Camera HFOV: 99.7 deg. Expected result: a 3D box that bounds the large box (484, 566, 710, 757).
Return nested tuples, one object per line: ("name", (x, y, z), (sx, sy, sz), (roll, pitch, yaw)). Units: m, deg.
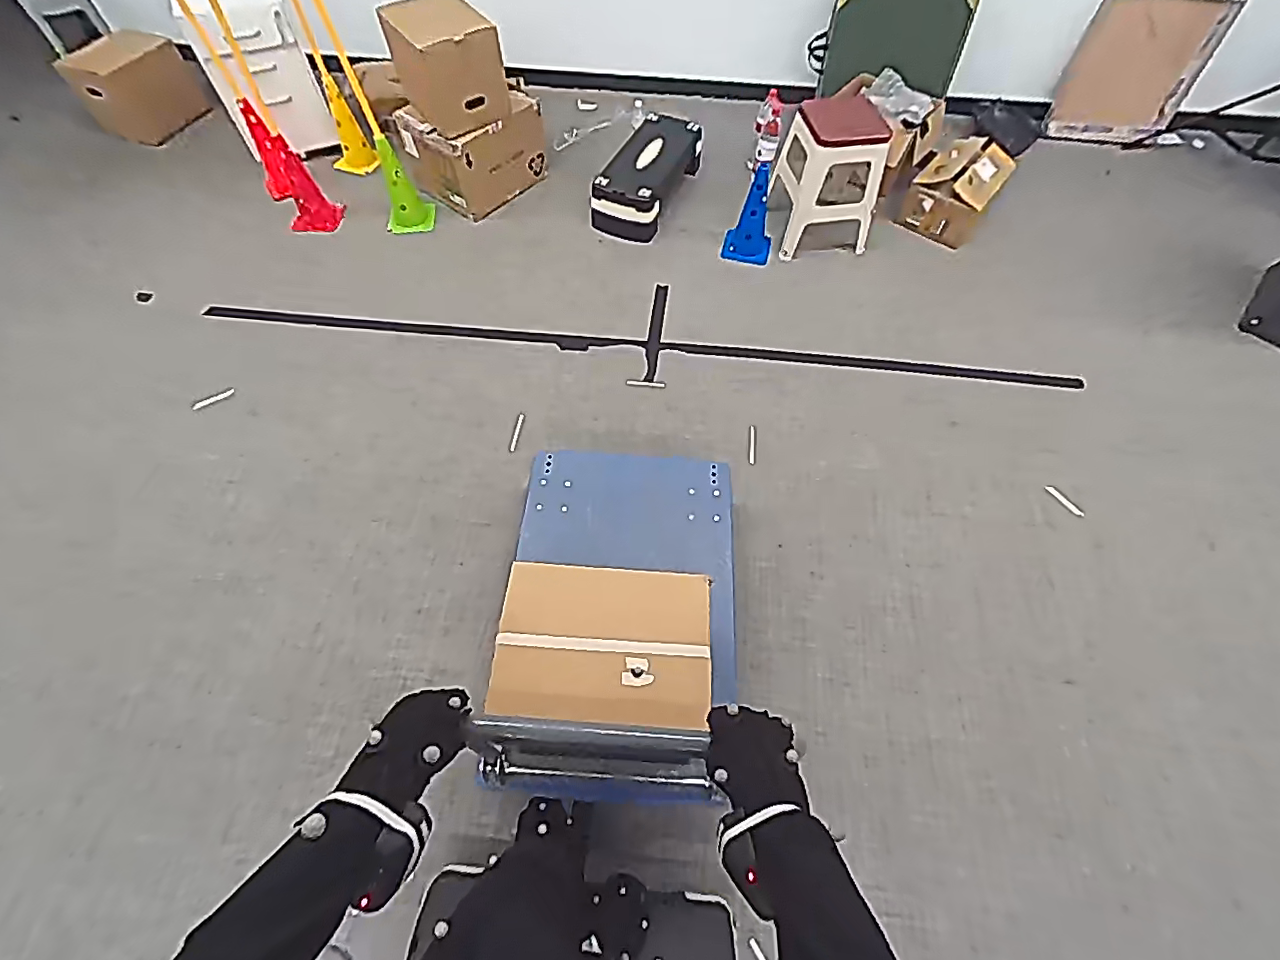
("large box", (-0.077, 0.394, 1.143), (0.408, 0.320, 0.320), (4, 59, 0))
